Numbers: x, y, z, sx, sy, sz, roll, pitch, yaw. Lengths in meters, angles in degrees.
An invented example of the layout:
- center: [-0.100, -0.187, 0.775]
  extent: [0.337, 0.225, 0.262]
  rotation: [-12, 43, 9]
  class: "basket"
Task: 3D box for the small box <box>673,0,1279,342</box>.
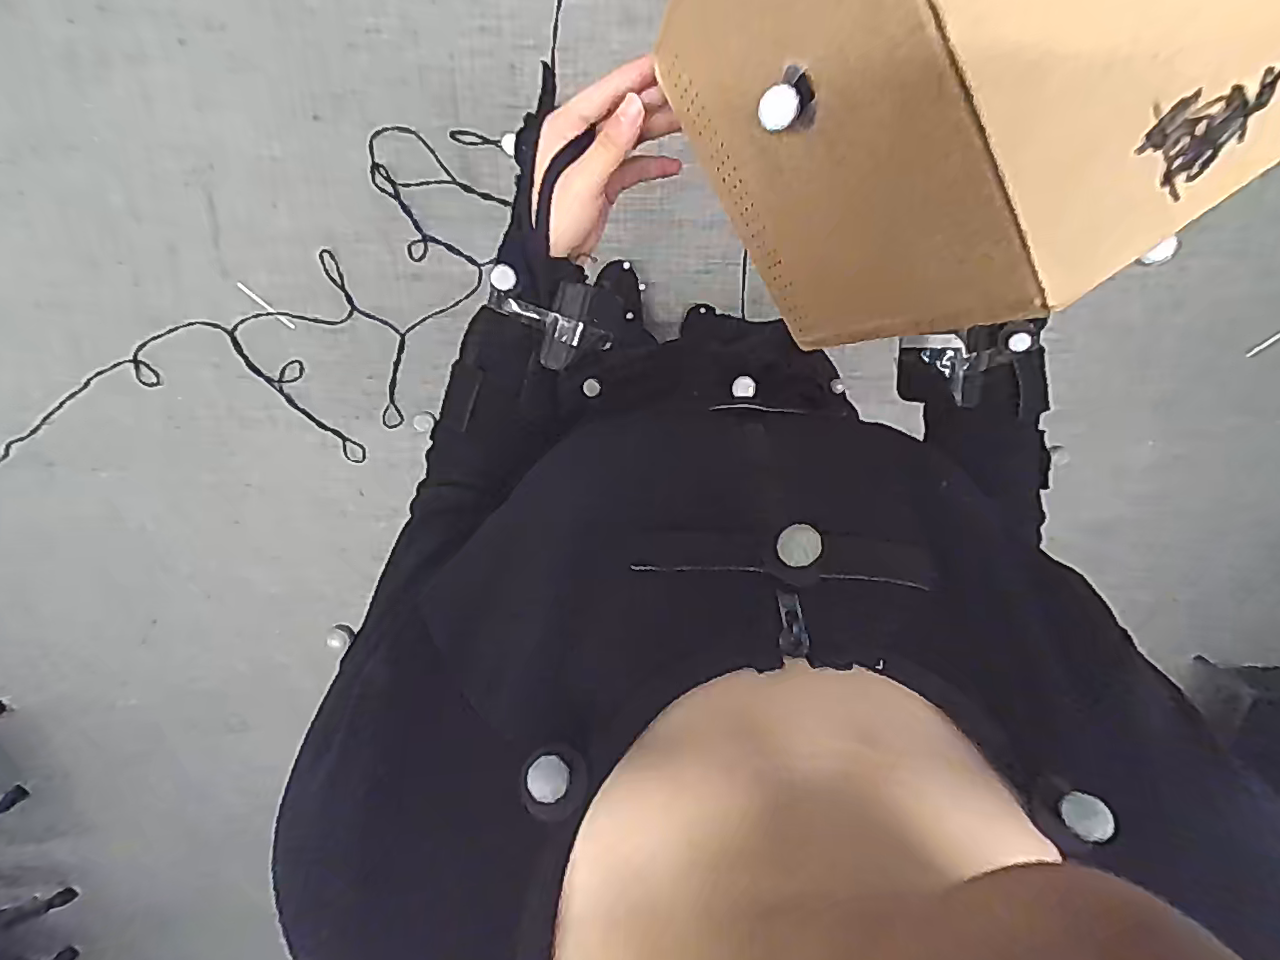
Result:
- center: [0.134, -0.179, 0.233]
  extent: [0.168, 0.176, 0.179]
  rotation: [-34, 103, -2]
  class: "small box"
